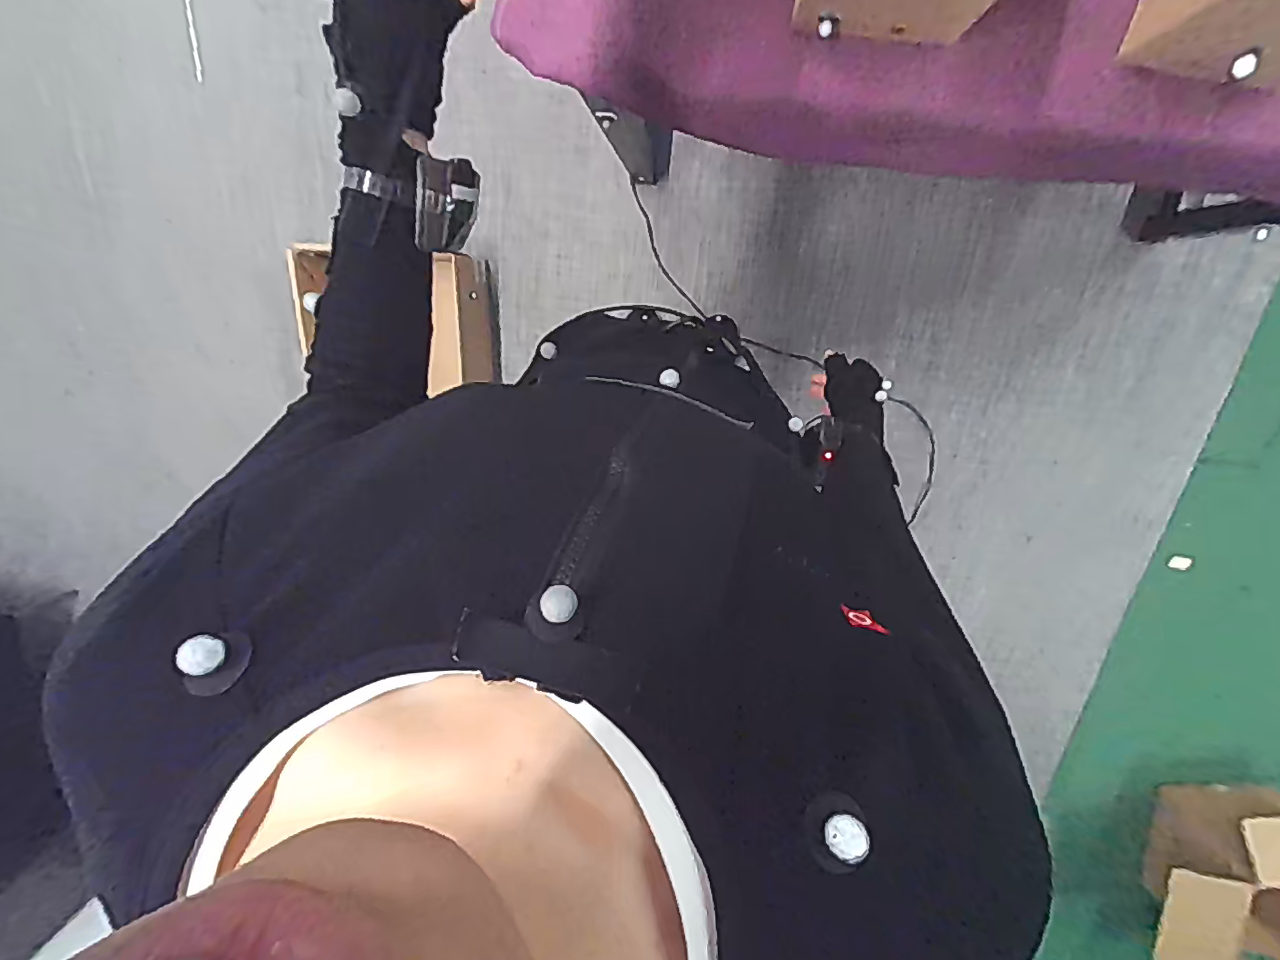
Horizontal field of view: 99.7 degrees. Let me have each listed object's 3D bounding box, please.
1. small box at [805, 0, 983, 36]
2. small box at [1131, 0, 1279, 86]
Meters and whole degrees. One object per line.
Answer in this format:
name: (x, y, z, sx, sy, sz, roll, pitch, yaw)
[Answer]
small box: (0.240, -0.508, 0.445, 0.168, 0.176, 0.179, 10, 109, 3)
small box: (0.558, -0.455, 0.427, 0.168, 0.176, 0.179, 13, 110, 3)
